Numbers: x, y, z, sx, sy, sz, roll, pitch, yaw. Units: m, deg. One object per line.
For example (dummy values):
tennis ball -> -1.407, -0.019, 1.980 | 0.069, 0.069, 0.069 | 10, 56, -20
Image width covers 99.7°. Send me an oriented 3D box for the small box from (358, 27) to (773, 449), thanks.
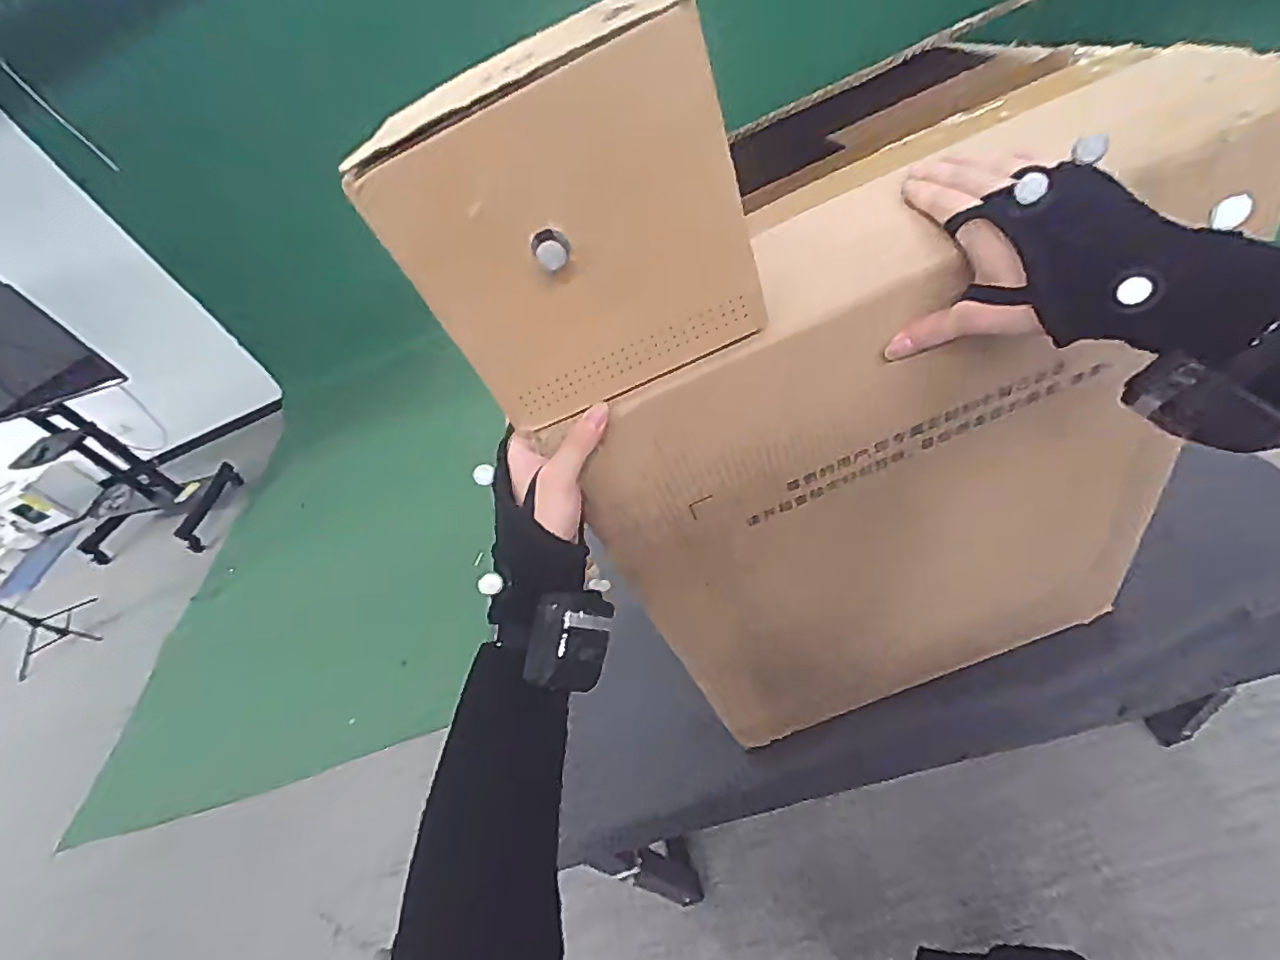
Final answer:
small box -> -0.036, -0.149, 0.348 | 0.179, 0.176, 0.168 | -24, 43, 6
